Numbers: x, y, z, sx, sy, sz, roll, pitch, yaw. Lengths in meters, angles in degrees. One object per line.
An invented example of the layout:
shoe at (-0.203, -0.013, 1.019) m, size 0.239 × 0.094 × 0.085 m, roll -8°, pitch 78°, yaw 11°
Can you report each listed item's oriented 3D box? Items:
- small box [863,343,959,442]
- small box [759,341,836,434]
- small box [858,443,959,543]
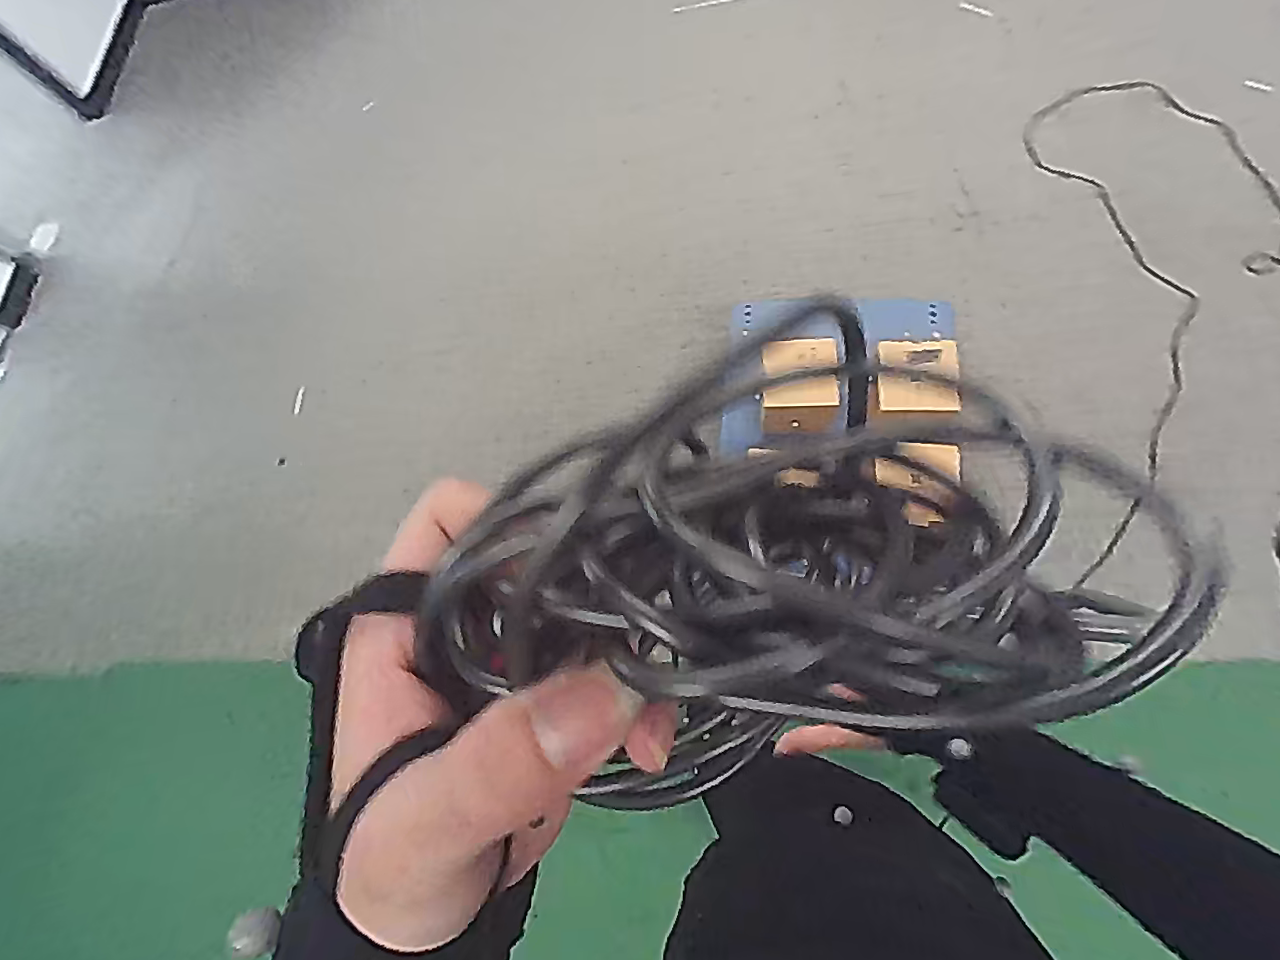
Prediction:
small box at (0.632, -0.204, 1.279) m, size 0.168 × 0.176 × 0.179 m, roll 2°, pitch 74°, yaw 12°
small box at (0.383, -0.219, 1.329) m, size 0.168 × 0.176 × 0.179 m, roll 0°, pitch 73°, yaw 10°
small box at (0.594, 0.033, 1.212) m, size 0.168 × 0.176 × 0.179 m, roll 6°, pitch 74°, yaw 12°
